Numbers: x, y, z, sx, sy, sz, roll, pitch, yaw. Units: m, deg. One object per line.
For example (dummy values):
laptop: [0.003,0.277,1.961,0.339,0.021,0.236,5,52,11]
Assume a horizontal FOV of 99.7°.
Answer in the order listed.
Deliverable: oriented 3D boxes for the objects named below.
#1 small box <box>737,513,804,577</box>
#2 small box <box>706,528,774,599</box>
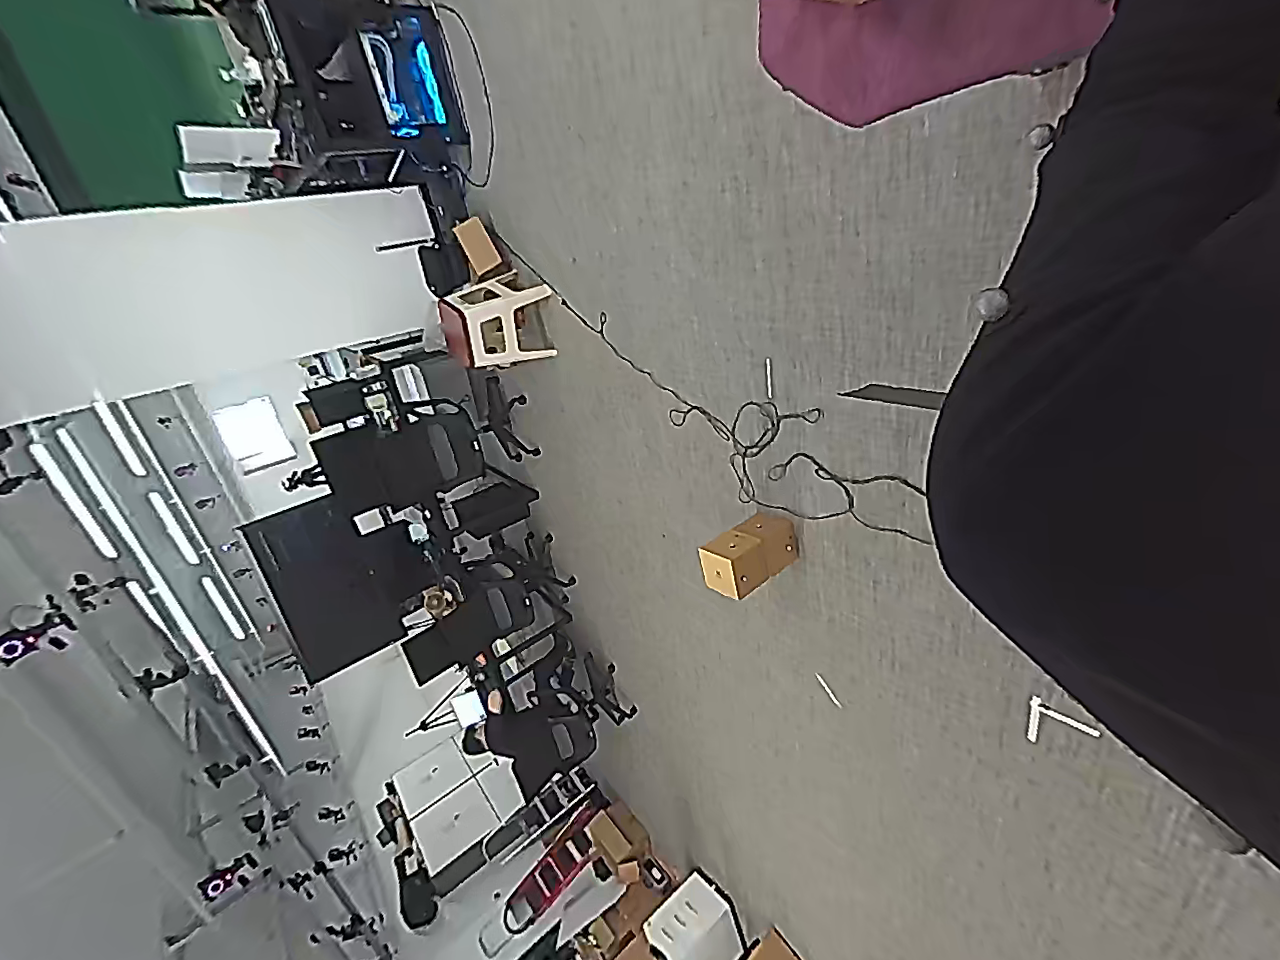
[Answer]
small box: [0.498,0.239,2.063,0.179,0.176,0.168,13,124,53]
small box: [0.370,0.298,1.982,0.168,0.176,0.179,16,127,52]
